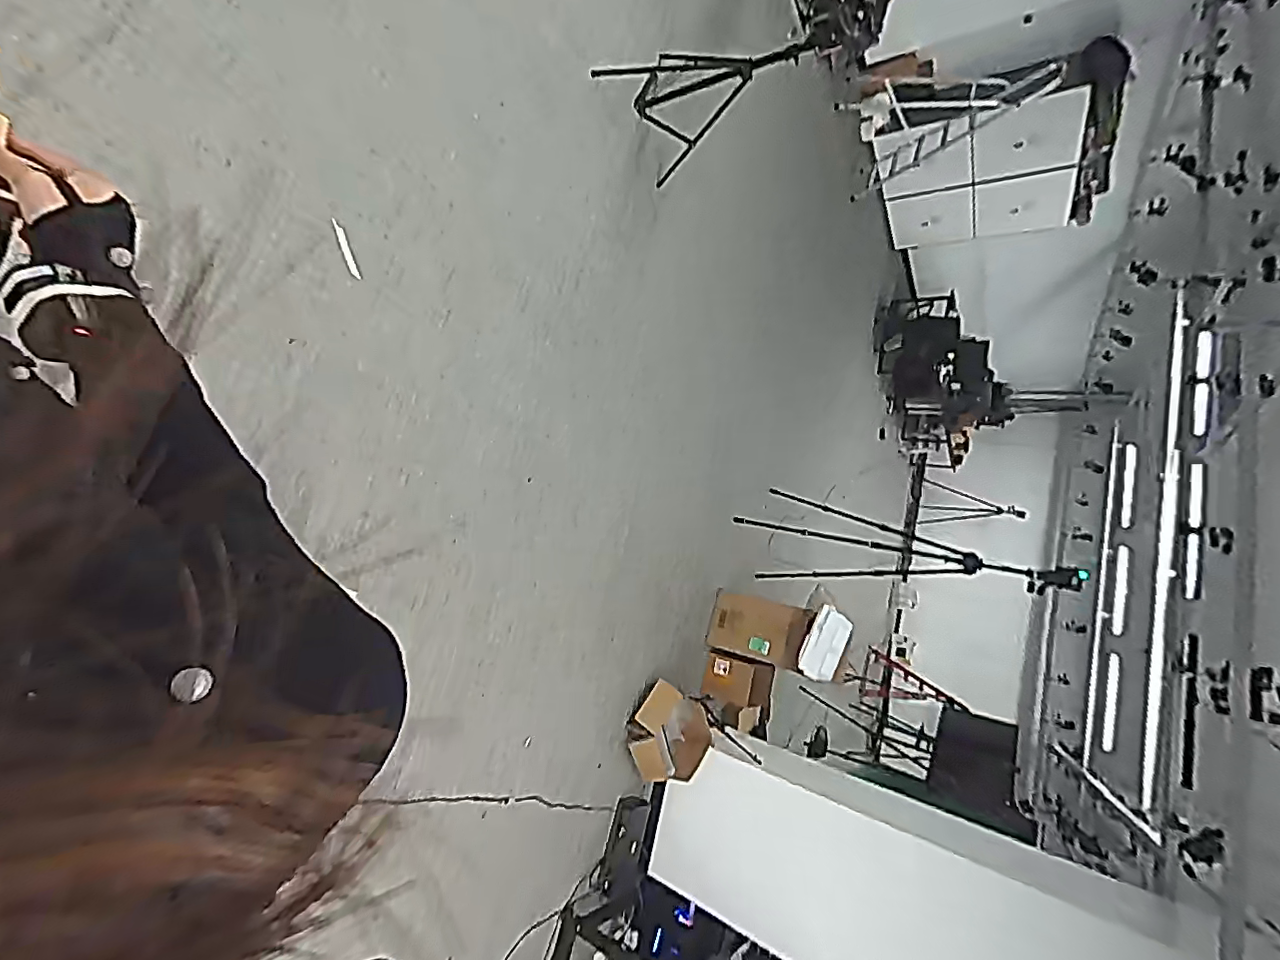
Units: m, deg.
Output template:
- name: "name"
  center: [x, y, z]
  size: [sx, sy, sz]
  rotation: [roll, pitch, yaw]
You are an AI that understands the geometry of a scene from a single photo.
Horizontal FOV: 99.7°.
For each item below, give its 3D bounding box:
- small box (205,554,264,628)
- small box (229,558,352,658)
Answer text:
- name: "small box"
  center: [-0.990, 0.306, 1.427]
  size: [0.179, 0.176, 0.168]
  rotation: [40, 63, -51]
- name: "small box"
  center: [-0.861, 0.311, 1.325]
  size: [0.168, 0.176, 0.179]
  rotation: [45, 59, -49]
